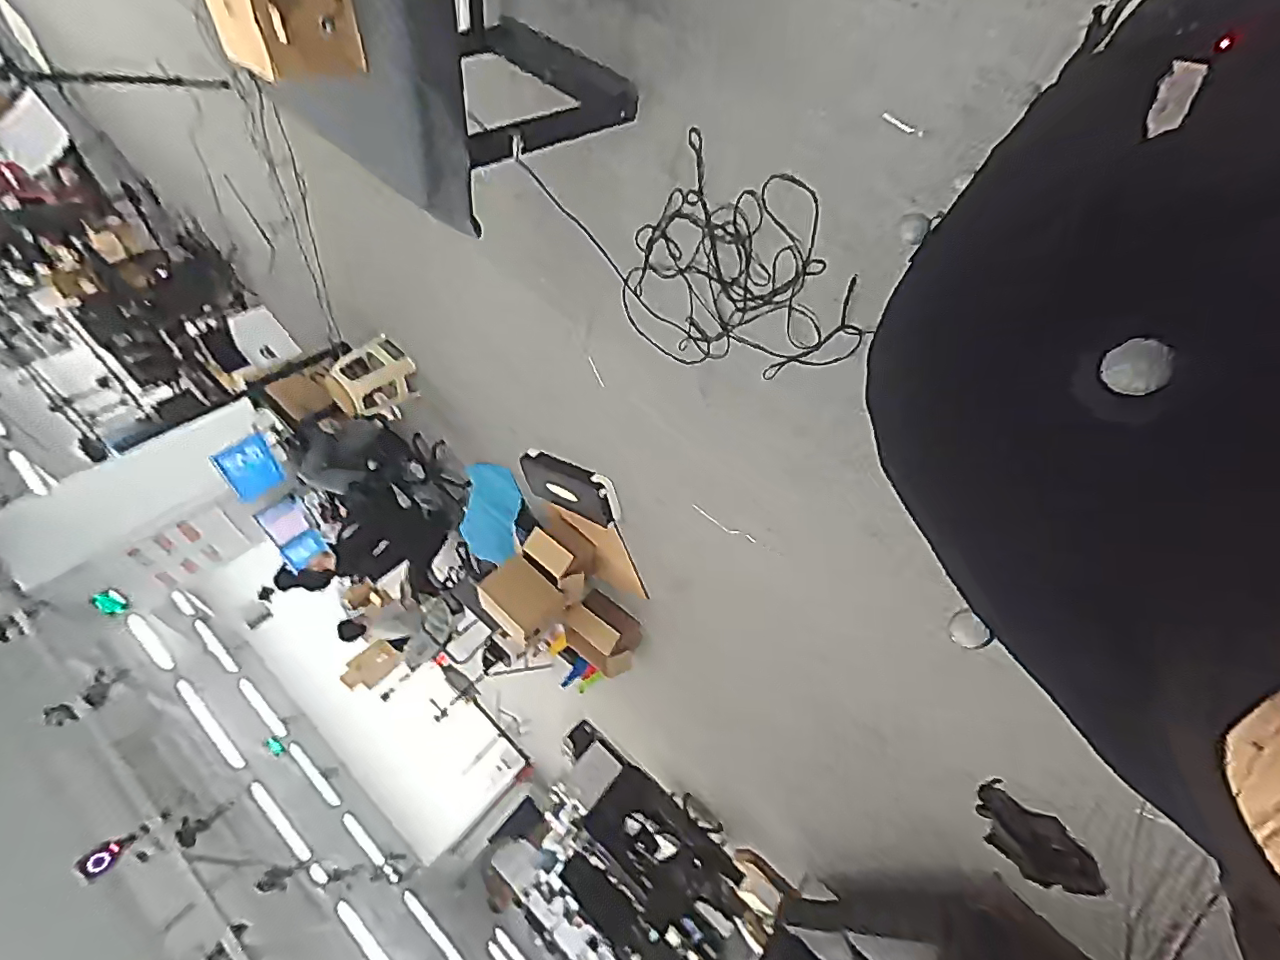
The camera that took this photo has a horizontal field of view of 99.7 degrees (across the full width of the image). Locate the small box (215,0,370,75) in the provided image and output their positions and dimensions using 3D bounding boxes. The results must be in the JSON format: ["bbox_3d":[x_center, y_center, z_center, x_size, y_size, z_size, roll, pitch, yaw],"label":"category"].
[{"bbox_3d":[-0.593,-0.810,0.908,0.179,0.176,0.168,36,144,20],"label":"small box"}]
